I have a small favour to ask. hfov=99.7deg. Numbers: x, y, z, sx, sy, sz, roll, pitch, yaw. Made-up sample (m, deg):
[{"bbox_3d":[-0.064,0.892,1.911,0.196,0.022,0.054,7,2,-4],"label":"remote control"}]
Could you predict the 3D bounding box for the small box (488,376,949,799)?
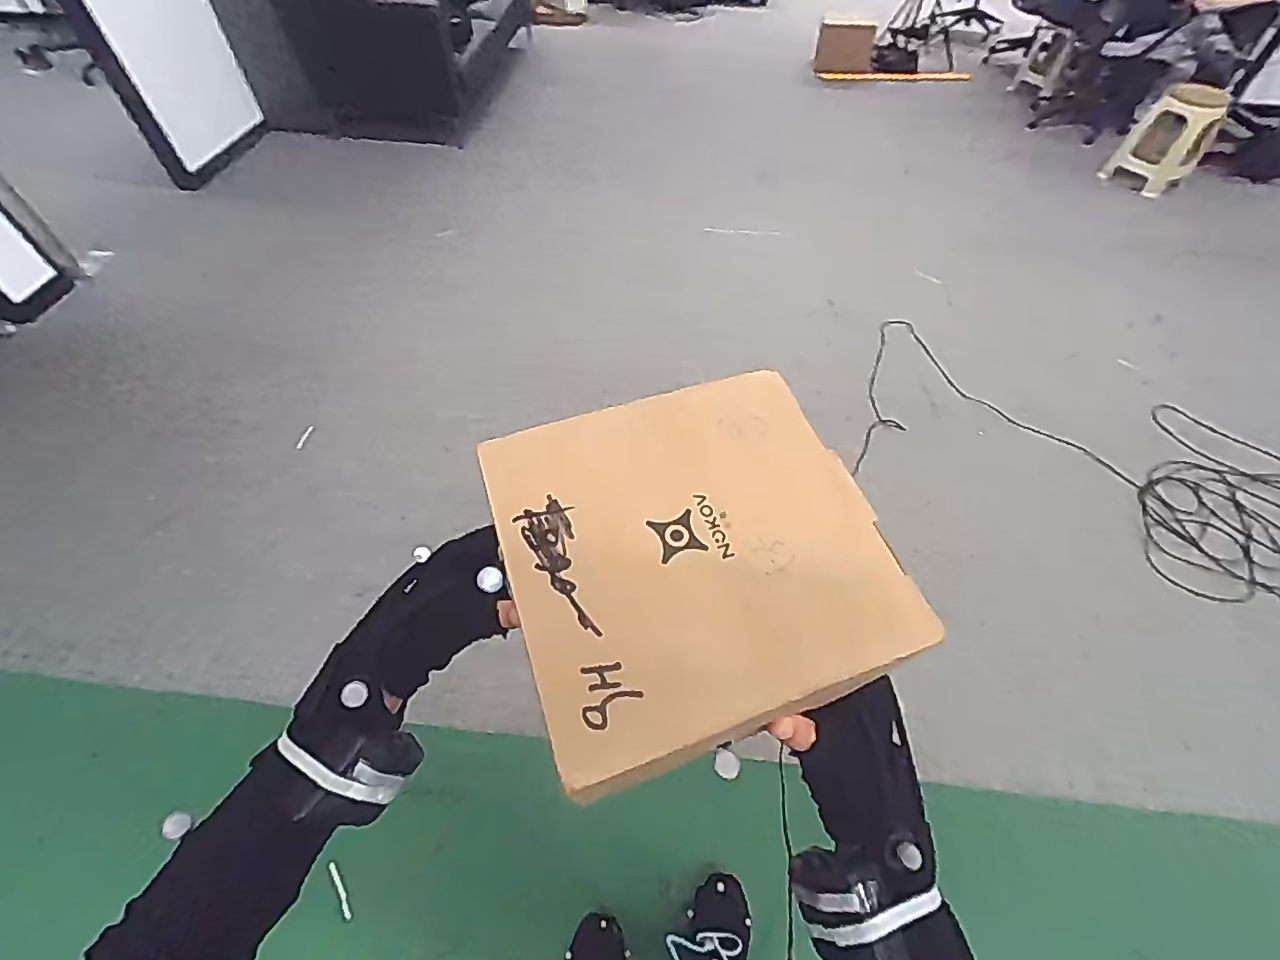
[{"bbox_3d":[0.022,0.068,0.319,0.179,0.176,0.168,-14,60,-14],"label":"small box"}]
